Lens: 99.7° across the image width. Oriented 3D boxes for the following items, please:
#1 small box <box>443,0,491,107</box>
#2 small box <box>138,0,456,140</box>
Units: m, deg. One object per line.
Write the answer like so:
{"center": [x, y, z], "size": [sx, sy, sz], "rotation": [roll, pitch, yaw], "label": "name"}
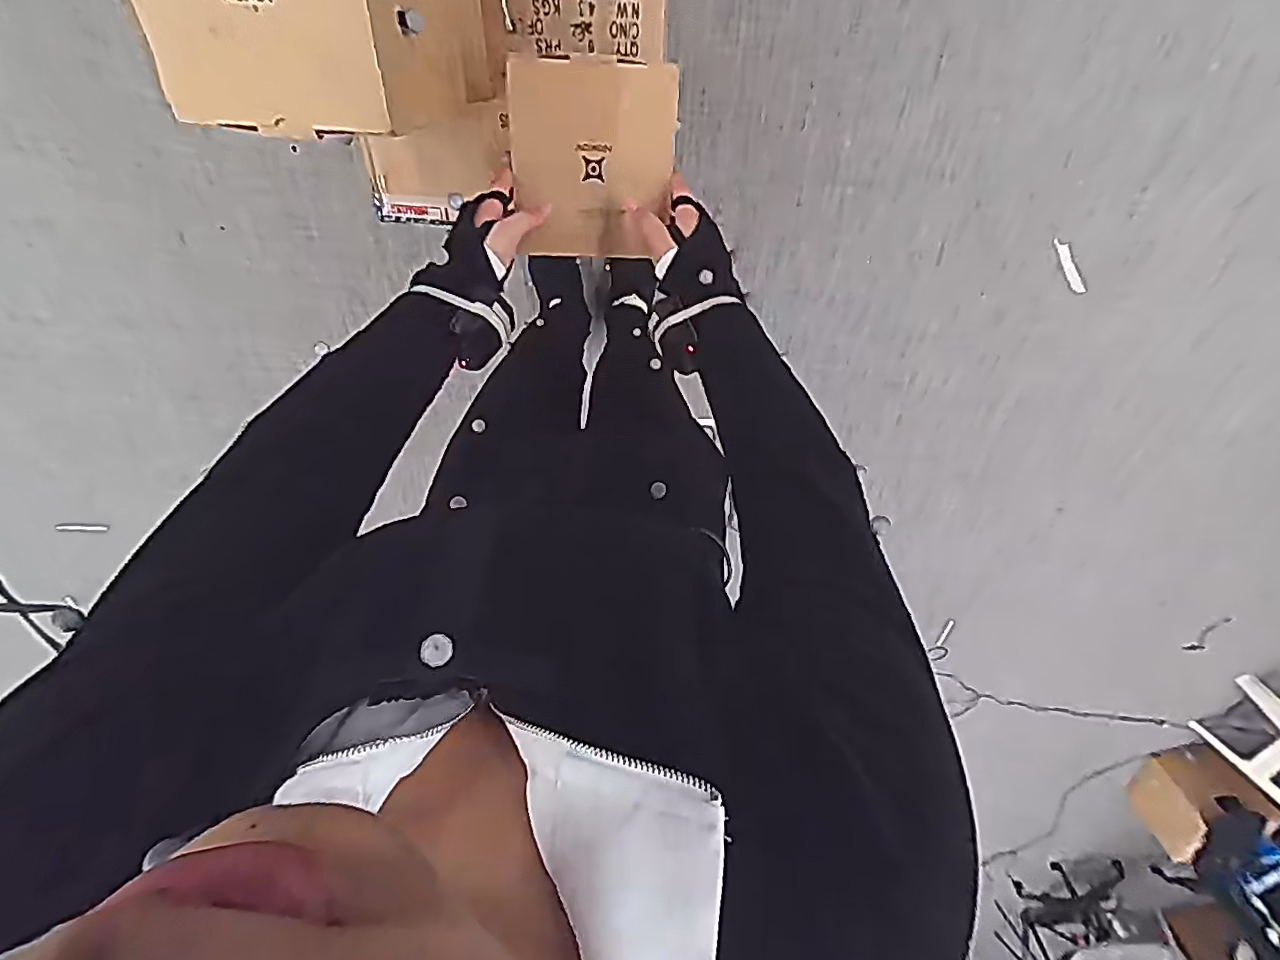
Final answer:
{"center": [-0.261, -0.491, 0.550], "size": [0.168, 0.176, 0.179], "rotation": [2, 128, 1], "label": "small box"}
{"center": [-0.259, -0.384, 0.425], "size": [0.168, 0.176, 0.179], "rotation": [3, 128, 0], "label": "small box"}
